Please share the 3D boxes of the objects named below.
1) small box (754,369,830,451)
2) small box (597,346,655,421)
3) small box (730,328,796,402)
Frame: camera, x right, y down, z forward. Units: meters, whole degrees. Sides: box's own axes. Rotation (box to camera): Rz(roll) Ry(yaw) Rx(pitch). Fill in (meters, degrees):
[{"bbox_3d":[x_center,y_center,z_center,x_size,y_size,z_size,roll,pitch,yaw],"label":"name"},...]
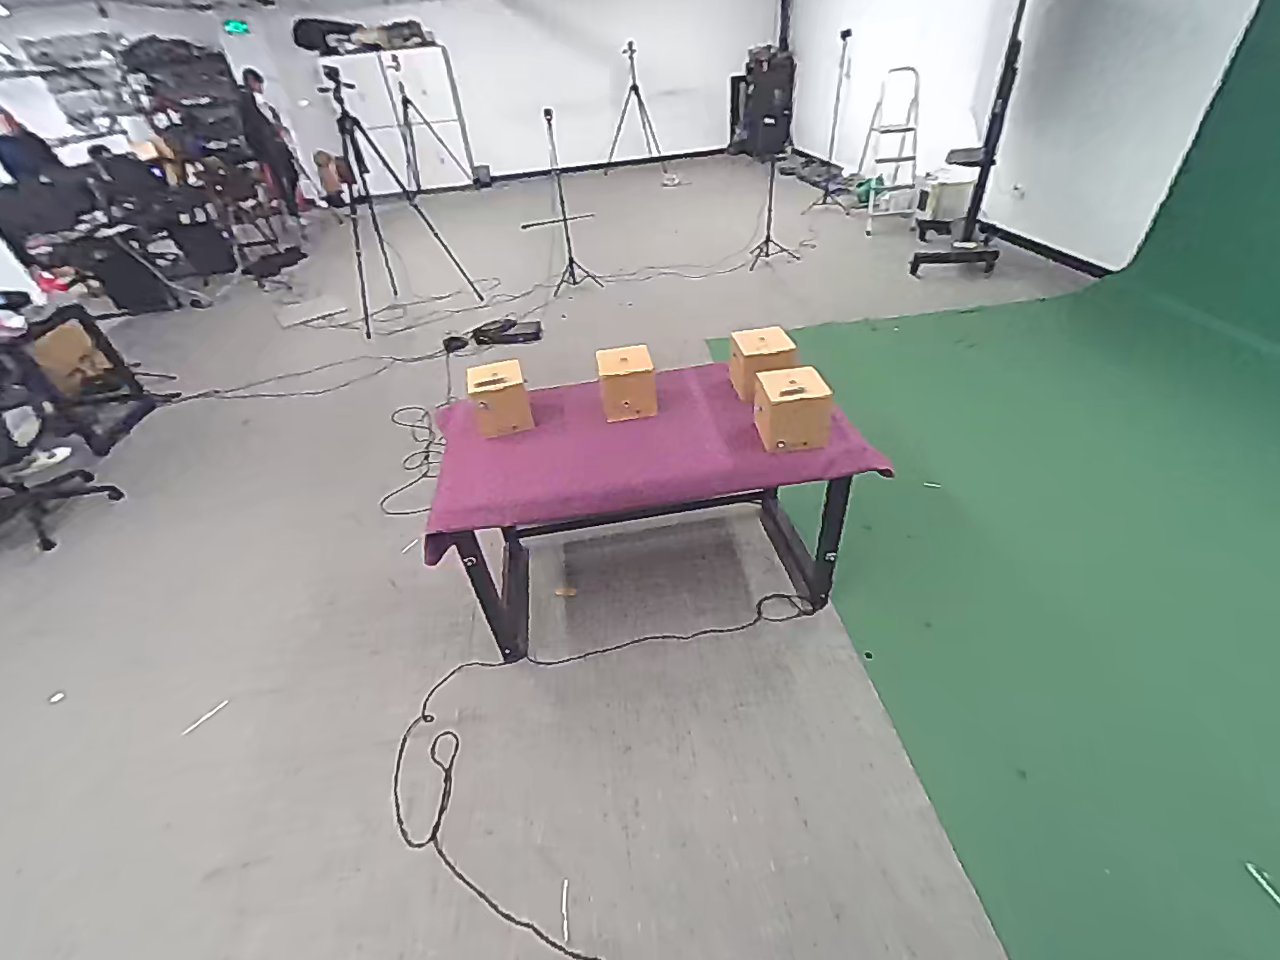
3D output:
[{"bbox_3d":[0.422,-0.193,1.525,0.168,0.176,0.179,-6,37,0],"label":"small box"},{"bbox_3d":[-0.045,-0.309,1.730,0.168,0.176,0.179,-8,40,-4],"label":"small box"},{"bbox_3d":[0.390,-0.373,1.752,0.168,0.176,0.179,-8,40,-2],"label":"small box"}]
